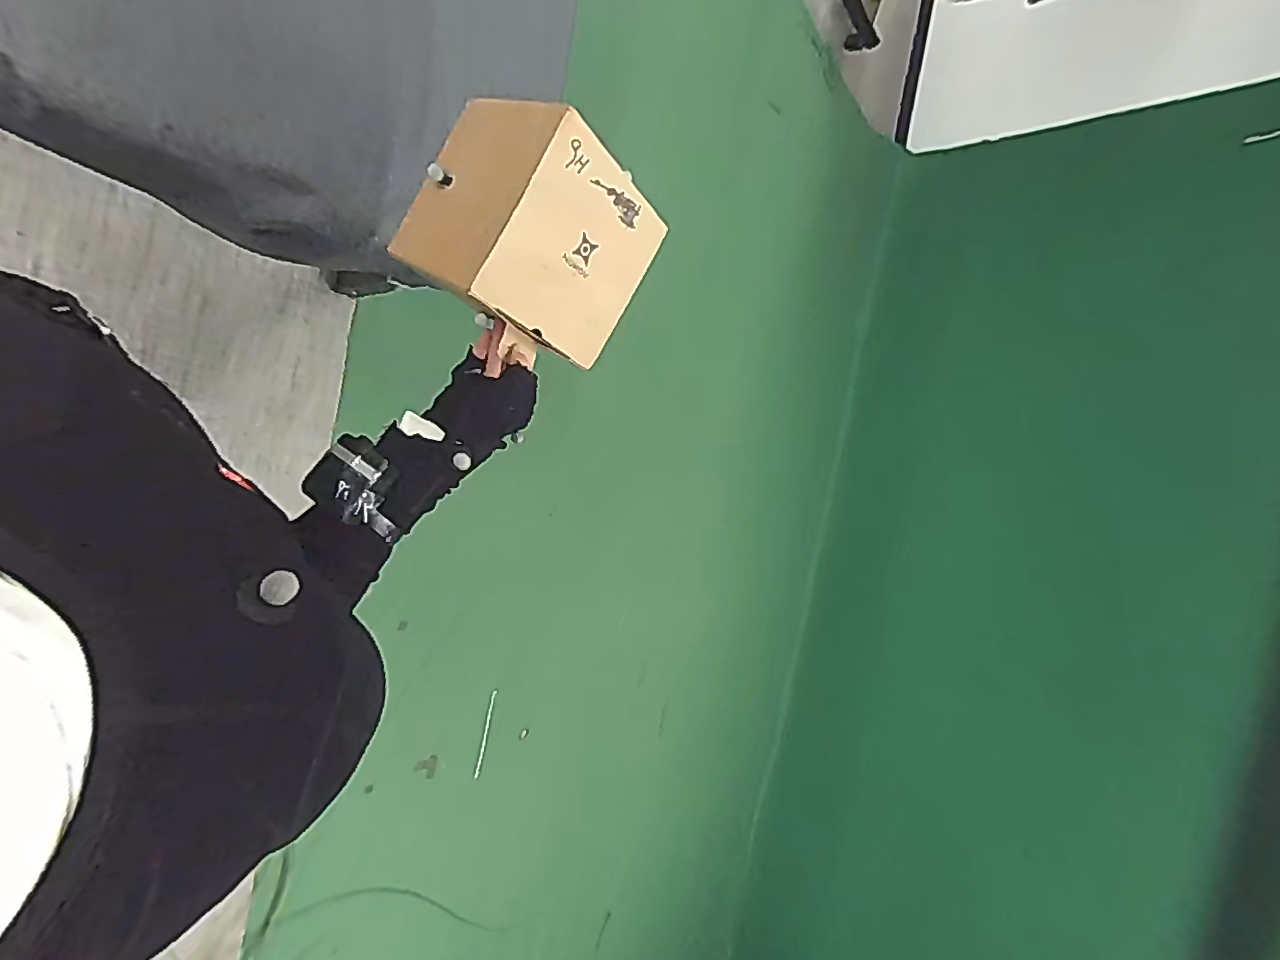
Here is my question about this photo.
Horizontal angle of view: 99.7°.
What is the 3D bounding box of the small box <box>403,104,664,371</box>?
[{"bbox_3d":[-0.114,-0.246,0.559,0.168,0.176,0.179,25,97,-55],"label":"small box"}]
